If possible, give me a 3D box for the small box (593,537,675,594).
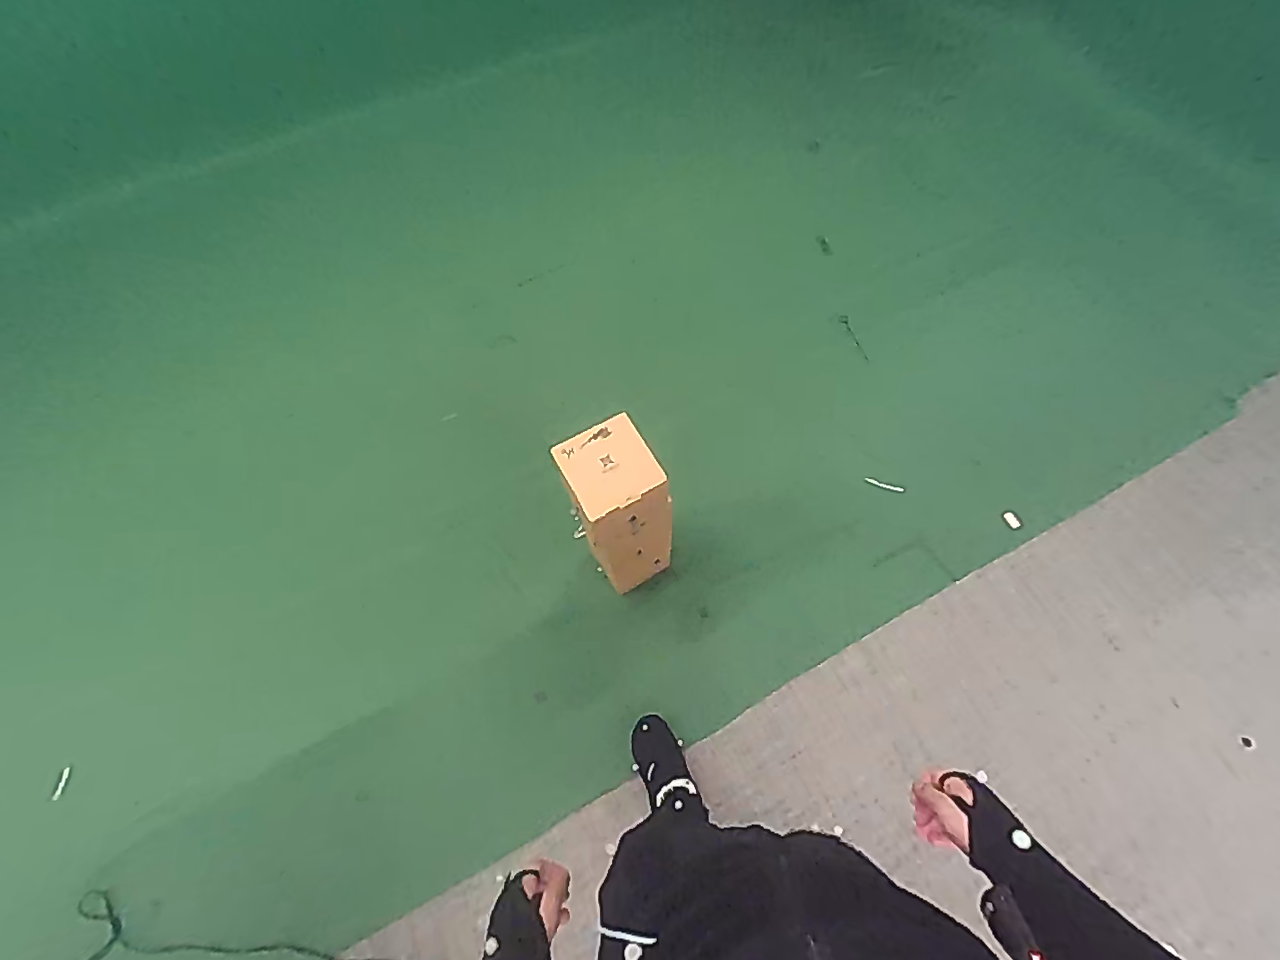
[{"bbox_3d":[-0.018,0.198,1.534,0.179,0.176,0.168,-30,67,-12],"label":"small box"}]

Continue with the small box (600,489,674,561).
[{"bbox_3d":[-0.035,0.062,1.238,0.179,0.176,0.168,-30,68,-12],"label":"small box"}]

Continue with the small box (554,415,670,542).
[{"bbox_3d":[-0.050,0.008,1.083,0.168,0.176,0.179,-27,67,-10],"label":"small box"}]

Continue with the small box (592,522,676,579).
[{"bbox_3d":[-0.024,0.128,1.388,0.179,0.176,0.168,-29,67,-10],"label":"small box"}]
